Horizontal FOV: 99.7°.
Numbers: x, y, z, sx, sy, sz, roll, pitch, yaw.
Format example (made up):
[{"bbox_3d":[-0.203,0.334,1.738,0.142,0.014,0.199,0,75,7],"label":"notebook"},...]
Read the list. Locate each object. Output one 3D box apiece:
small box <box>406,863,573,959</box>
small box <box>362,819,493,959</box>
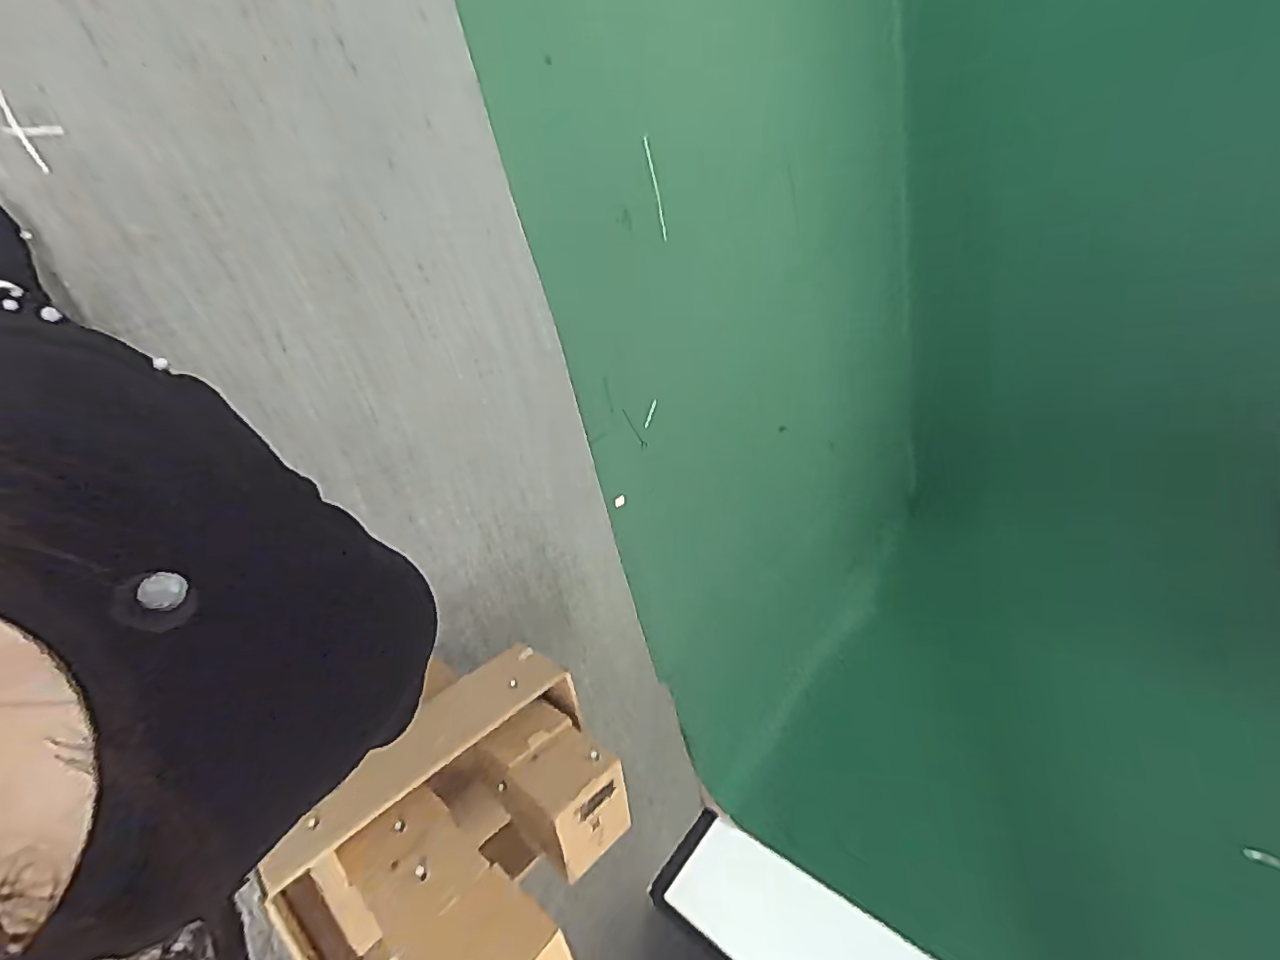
[{"bbox_3d":[-0.222,0.742,0.819,0.179,0.176,0.168,-31,118,-39],"label":"small box"},{"bbox_3d":[-0.344,0.727,0.927,0.168,0.176,0.179,-32,118,-39],"label":"small box"}]
